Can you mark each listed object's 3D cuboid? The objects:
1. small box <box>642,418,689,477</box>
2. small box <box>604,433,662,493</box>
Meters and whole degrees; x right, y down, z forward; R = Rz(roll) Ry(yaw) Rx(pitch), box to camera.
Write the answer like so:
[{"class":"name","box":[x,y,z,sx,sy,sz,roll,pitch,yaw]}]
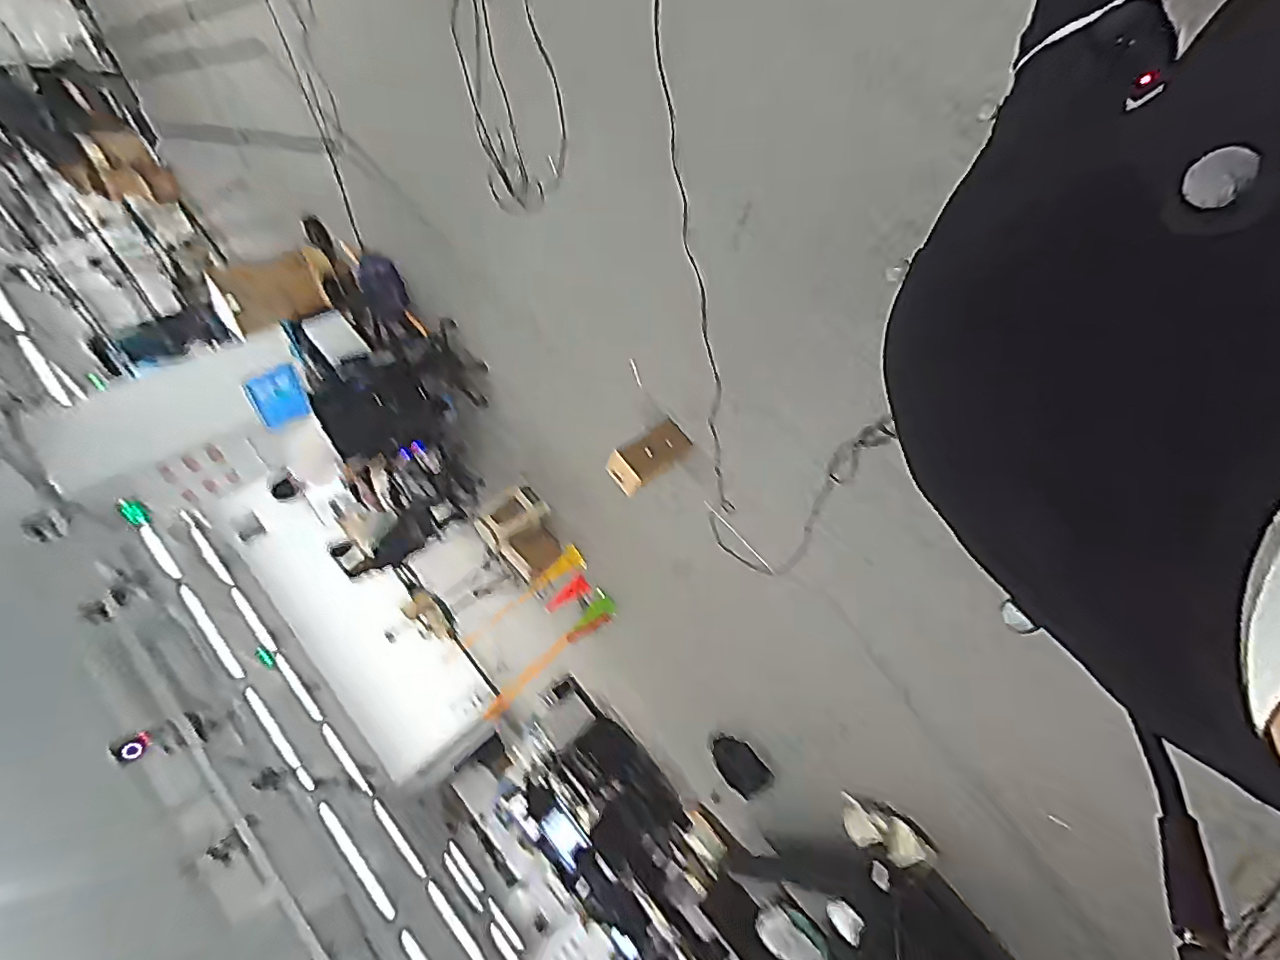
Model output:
[{"class":"small box","box":[0.093,-0.152,2.459,0.179,0.176,0.168,49,149,10]},{"class":"small box","box":[-0.028,-0.075,2.376,0.168,0.176,0.179,50,148,9]}]
